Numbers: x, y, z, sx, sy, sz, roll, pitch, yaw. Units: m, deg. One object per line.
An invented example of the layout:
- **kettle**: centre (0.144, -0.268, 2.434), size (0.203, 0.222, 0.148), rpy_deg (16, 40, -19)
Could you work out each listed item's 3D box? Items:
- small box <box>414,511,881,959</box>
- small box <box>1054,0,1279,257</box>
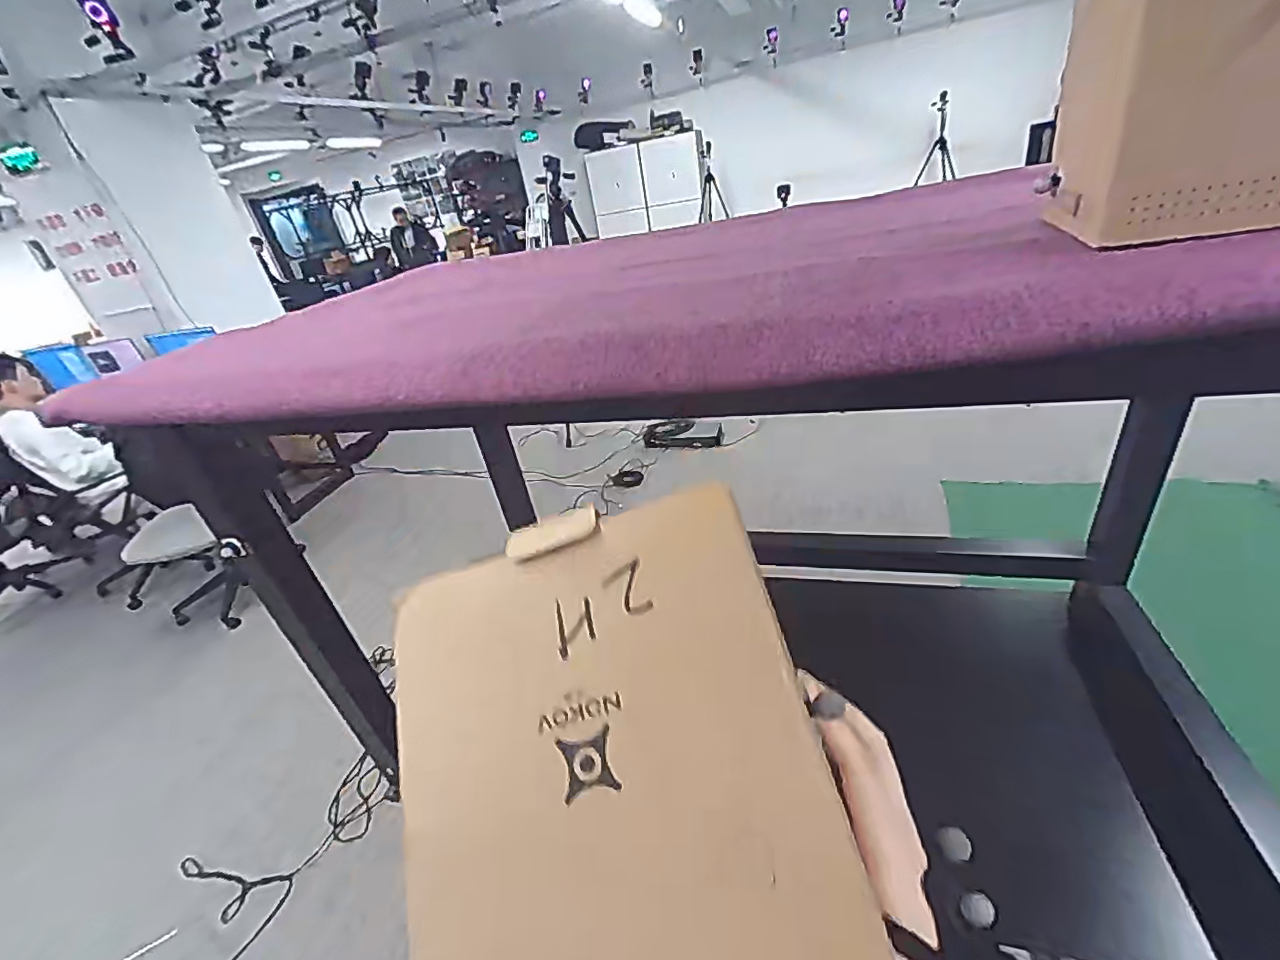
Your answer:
- **small box**: centre (0.007, 0.143, 0.285), size (0.168, 0.176, 0.179), rpy_deg (-19, 63, 8)
- **small box**: centre (0.373, -0.238, 0.321), size (0.179, 0.176, 0.168), rpy_deg (3, 31, 25)
